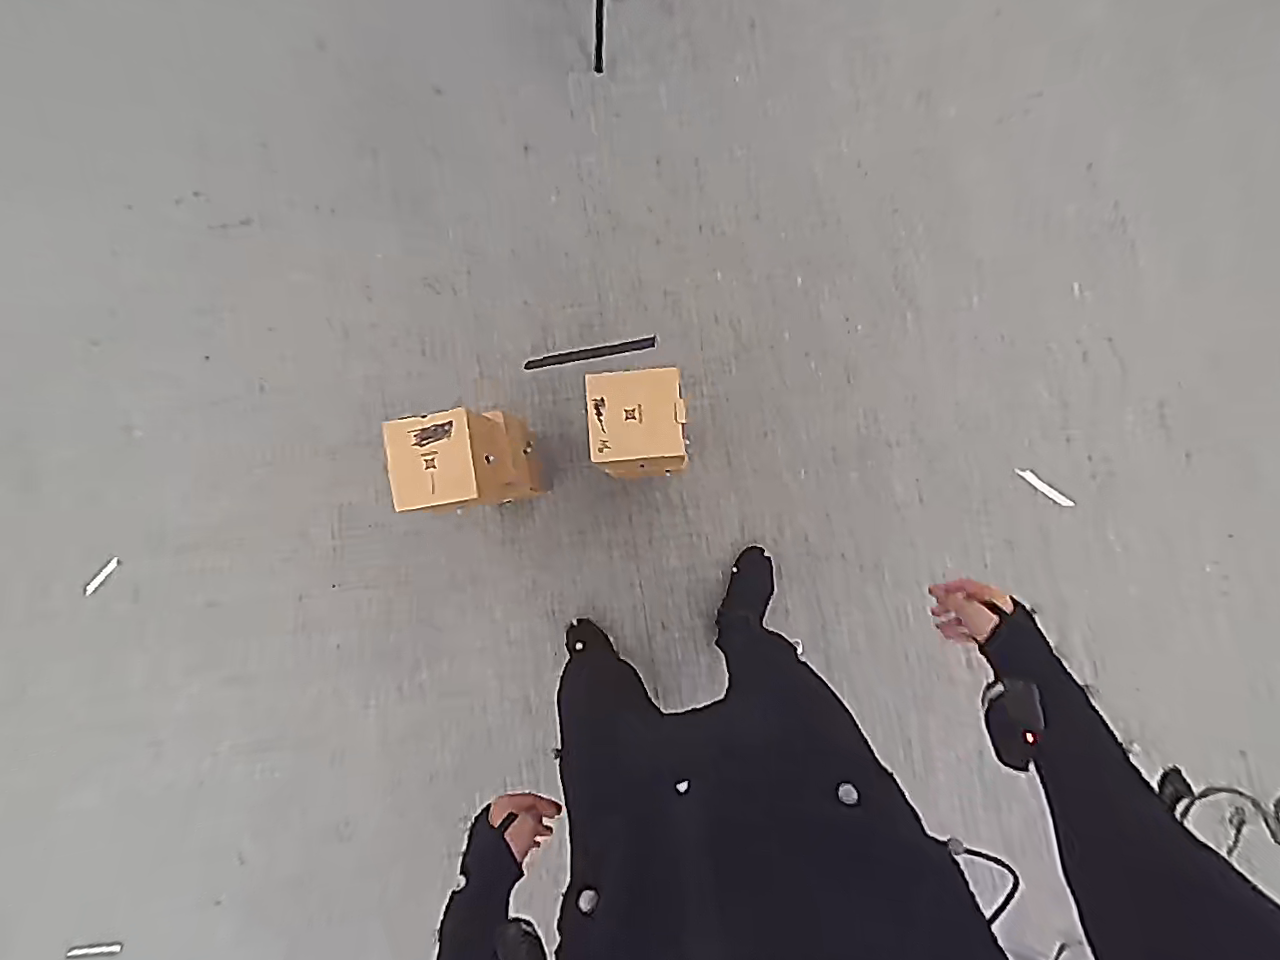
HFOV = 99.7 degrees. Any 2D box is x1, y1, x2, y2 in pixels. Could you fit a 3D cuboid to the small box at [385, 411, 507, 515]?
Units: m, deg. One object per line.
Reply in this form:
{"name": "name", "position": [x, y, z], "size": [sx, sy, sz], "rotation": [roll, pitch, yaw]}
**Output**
{"name": "small box", "position": [-0.380, -0.026, 1.083], "size": [0.168, 0.176, 0.179], "rotation": [-10, 87, 5]}

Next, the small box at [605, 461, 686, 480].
{"name": "small box", "position": [0.013, -0.091, 1.226], "size": [0.179, 0.176, 0.168], "rotation": [-4, 86, 3]}

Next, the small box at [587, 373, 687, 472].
{"name": "small box", "position": [-0.003, -0.106, 1.063], "size": [0.179, 0.176, 0.168], "rotation": [-4, 86, 2]}

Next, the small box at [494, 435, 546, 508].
{"name": "small box", "position": [-0.357, -0.027, 1.411], "size": [0.168, 0.176, 0.179], "rotation": [-12, 86, 4]}

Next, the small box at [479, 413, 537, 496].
{"name": "small box", "position": [-0.356, -0.042, 1.247], "size": [0.179, 0.176, 0.168], "rotation": [-14, 86, 4]}
